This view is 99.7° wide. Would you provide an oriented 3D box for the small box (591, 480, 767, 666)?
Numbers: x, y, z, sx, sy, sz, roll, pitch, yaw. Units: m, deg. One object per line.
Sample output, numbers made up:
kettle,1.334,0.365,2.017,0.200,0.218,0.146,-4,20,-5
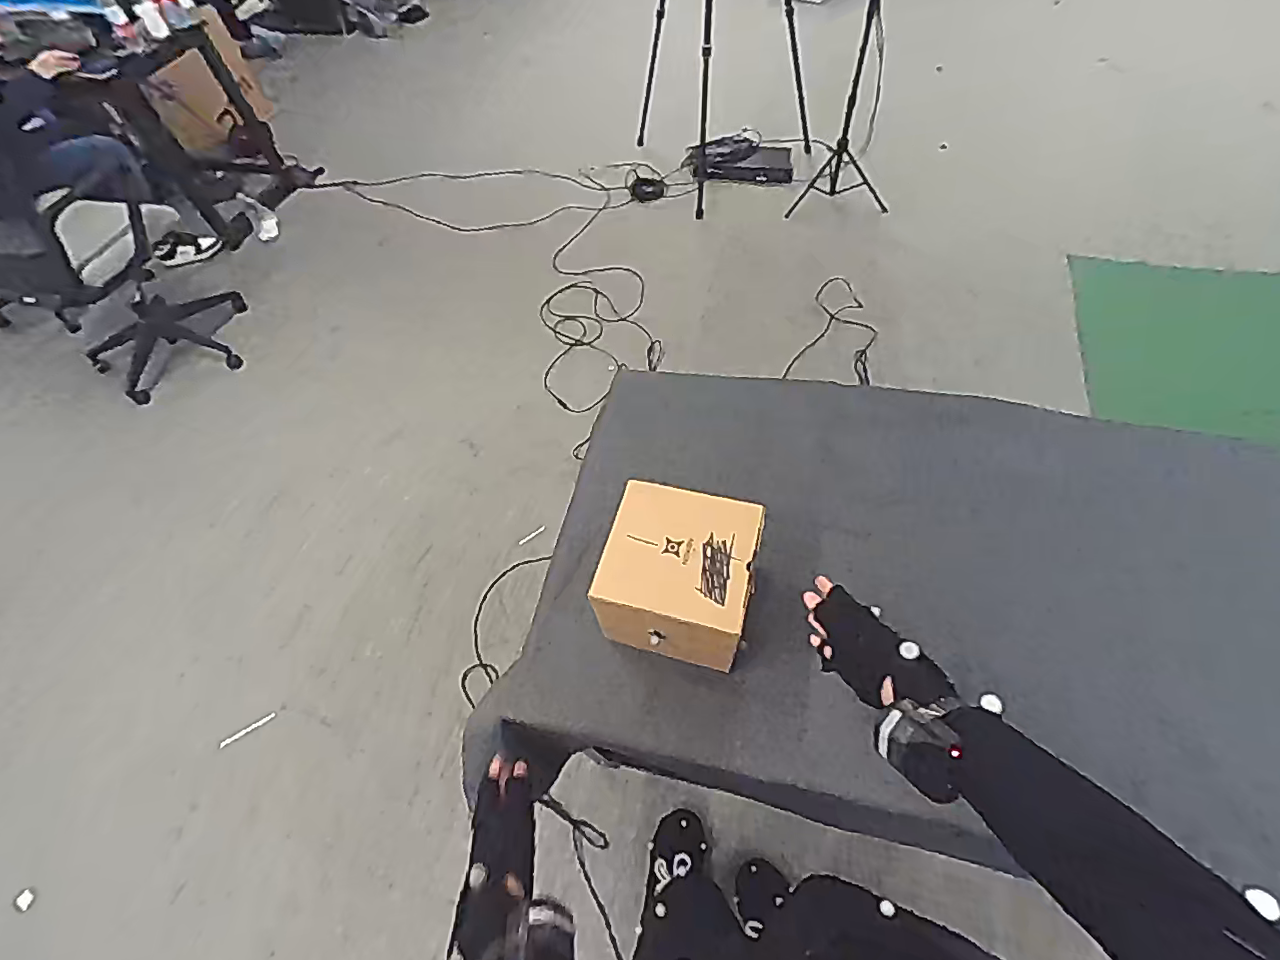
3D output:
small box,0.055,0.127,0.701,0.179,0.176,0.168,12,59,13
